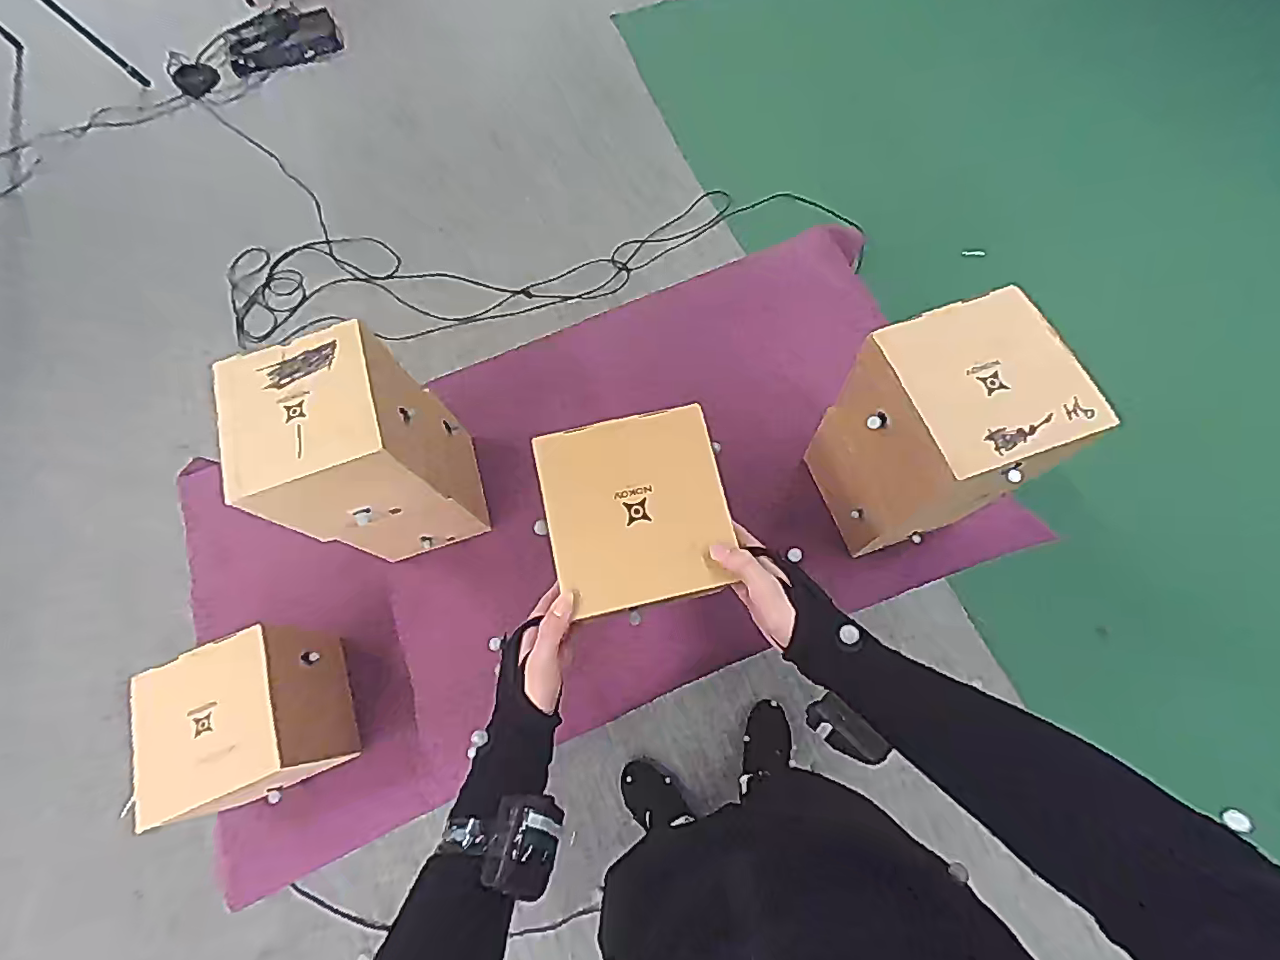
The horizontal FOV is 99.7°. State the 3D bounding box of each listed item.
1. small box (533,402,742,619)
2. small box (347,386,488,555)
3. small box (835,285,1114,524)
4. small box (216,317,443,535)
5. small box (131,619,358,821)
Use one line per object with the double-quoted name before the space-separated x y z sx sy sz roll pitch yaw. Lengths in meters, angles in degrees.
"small box" -0.003 0.043 0.572 0.168 0.176 0.179 -12 75 -3
"small box" -0.343 -0.006 0.802 0.168 0.176 0.179 -18 70 -2
"small box" 0.340 -0.073 0.598 0.168 0.176 0.179 -19 69 -1
"small box" -0.358 -0.055 0.645 0.168 0.176 0.179 -19 71 -3
"small box" -0.500 0.301 0.701 0.168 0.176 0.179 -22 69 -4
